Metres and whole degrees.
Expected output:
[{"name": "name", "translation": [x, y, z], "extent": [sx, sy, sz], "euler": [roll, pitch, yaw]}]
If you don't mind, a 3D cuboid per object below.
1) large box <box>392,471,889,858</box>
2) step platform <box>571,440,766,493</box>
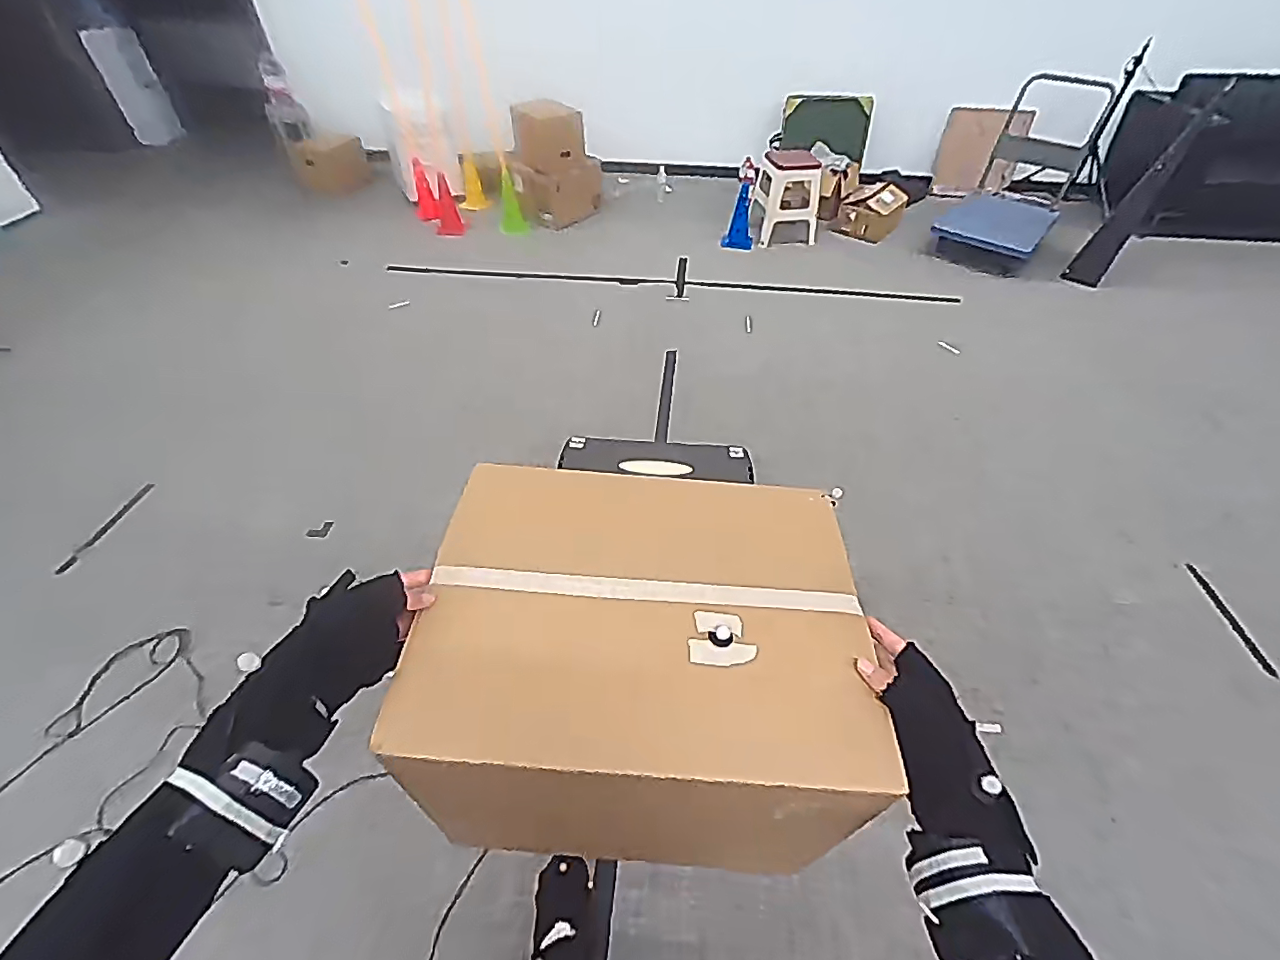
[{"name": "large box", "translation": [-0.002, 0.216, 0.632], "extent": [0.408, 0.320, 0.320], "euler": [5, 45, 0]}, {"name": "step platform", "translation": [0.095, 0.030, 1.913], "extent": [0.684, 0.204, 0.286], "euler": [4, 46, 1]}]
